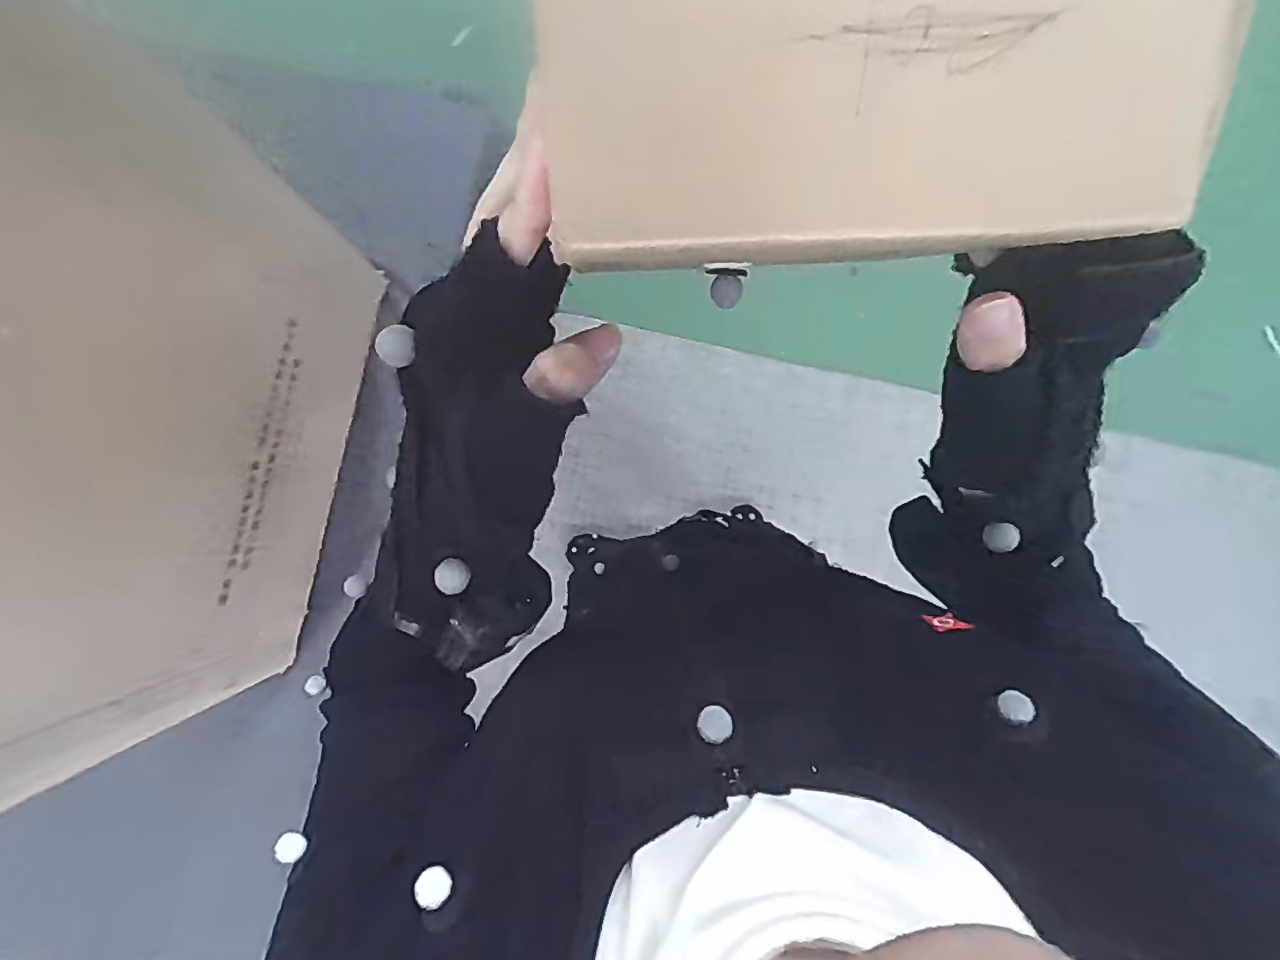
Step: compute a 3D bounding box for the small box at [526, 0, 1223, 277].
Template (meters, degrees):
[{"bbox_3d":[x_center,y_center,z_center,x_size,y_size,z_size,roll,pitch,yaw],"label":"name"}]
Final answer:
[{"bbox_3d":[0.050,-0.169,0.189,0.168,0.176,0.179,-3,110,-1],"label":"small box"}]
